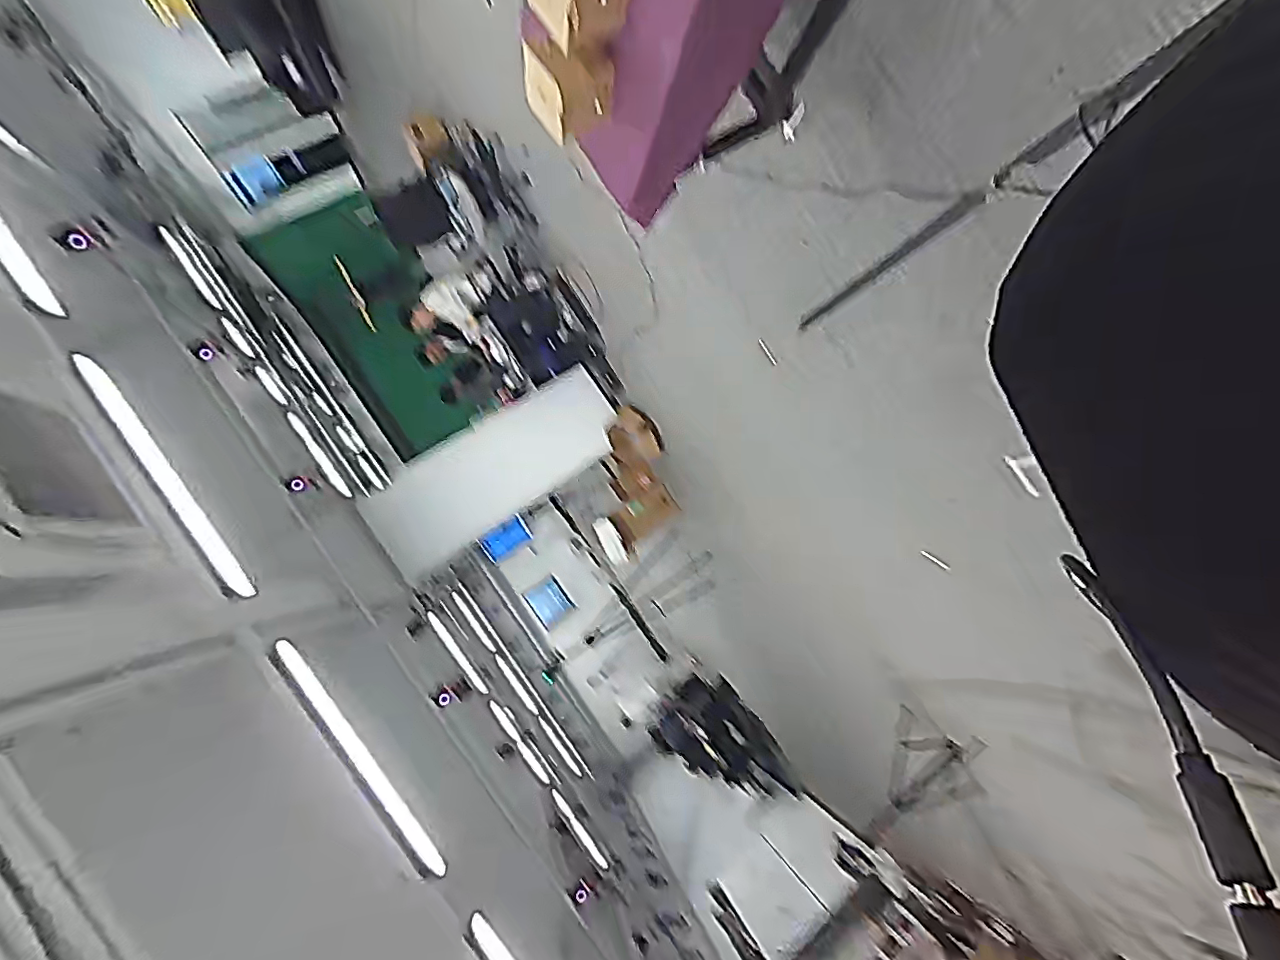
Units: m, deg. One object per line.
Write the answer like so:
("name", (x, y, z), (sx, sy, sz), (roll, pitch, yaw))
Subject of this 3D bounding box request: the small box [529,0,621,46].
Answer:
("small box", (-0.142, -1.117, 1.181), (0.179, 0.176, 0.168), (56, 164, 1))

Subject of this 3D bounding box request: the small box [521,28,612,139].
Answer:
("small box", (-0.196, -1.067, 1.441), (0.179, 0.176, 0.168), (53, 165, 8))
